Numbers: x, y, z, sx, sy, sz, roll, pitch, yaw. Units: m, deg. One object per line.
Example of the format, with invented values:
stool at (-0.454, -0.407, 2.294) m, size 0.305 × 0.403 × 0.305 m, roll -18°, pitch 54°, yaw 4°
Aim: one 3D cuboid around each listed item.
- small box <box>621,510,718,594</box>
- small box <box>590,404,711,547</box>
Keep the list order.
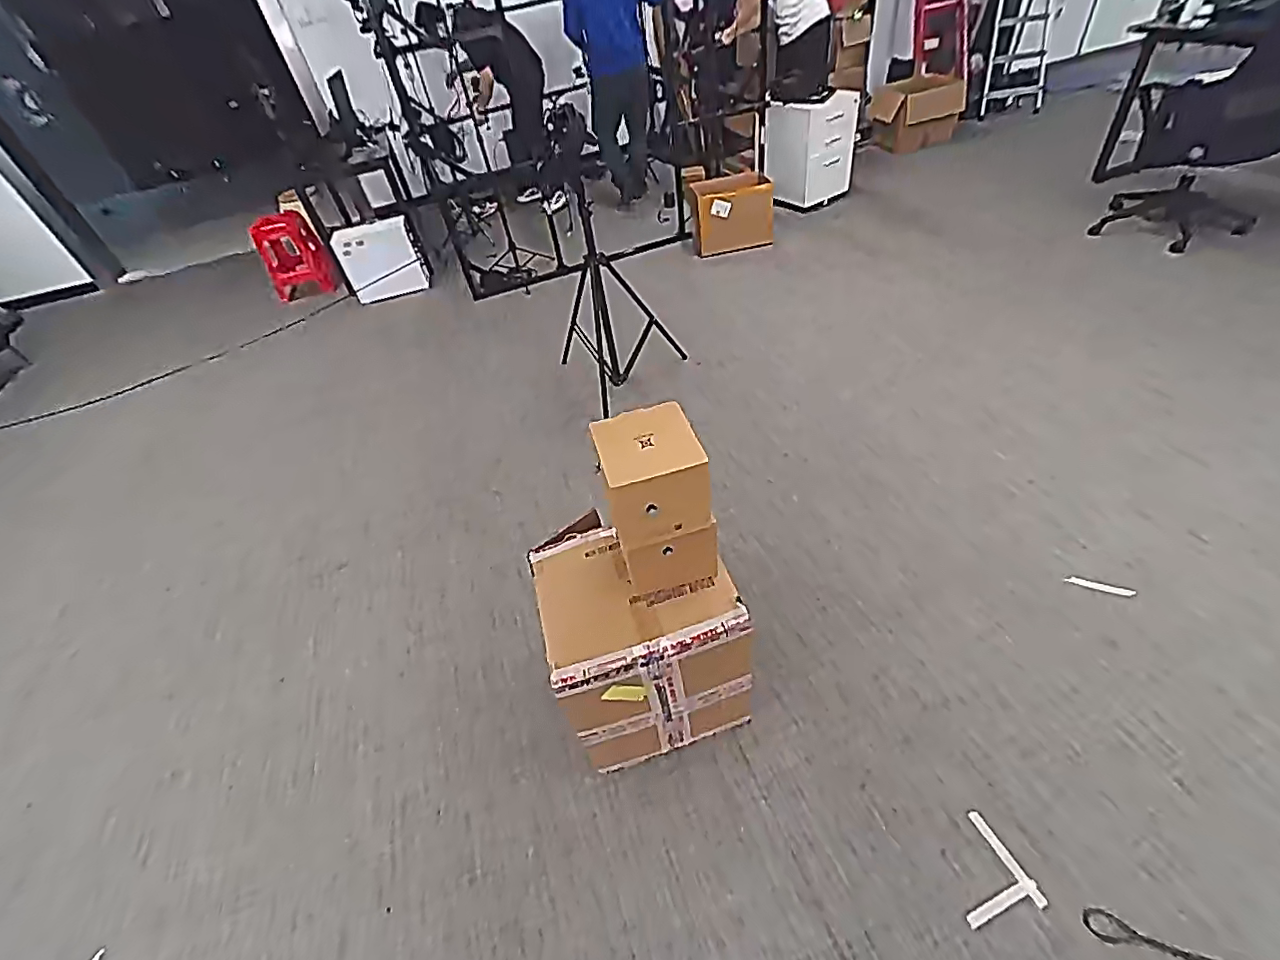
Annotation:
small box at (0.049, 0.104, 1.078) m, size 0.179 × 0.176 × 0.168 m, roll -14°, pitch 46°, yaw -5°
small box at (0.021, -0.002, 0.957) m, size 0.168 × 0.176 × 0.179 m, roll -16°, pitch 45°, yaw -6°
